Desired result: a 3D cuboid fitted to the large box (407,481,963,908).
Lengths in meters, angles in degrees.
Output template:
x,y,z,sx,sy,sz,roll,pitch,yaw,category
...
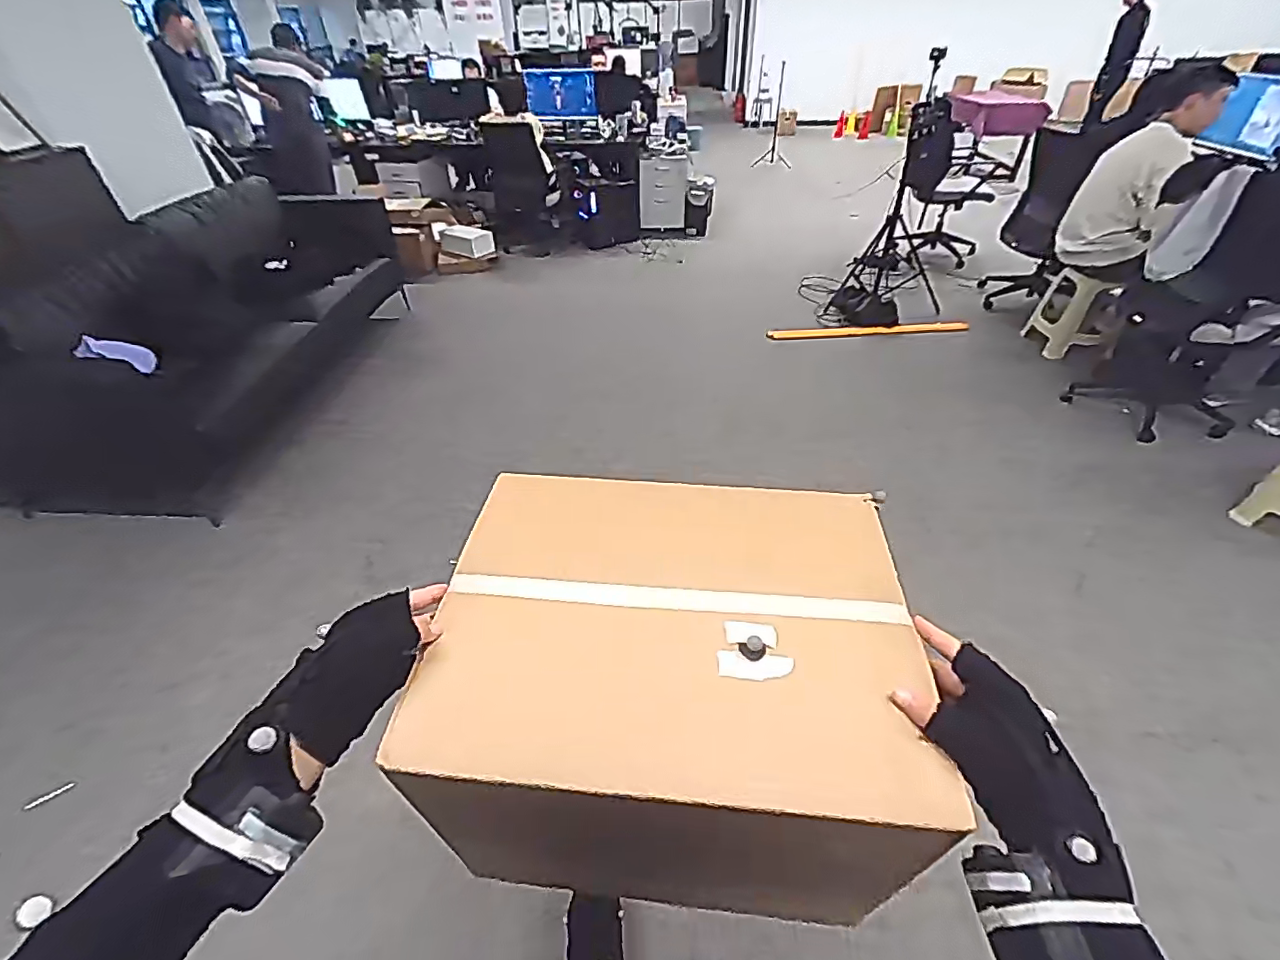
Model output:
x,y,z,sx,sy,sz,roll,pitch,yaw,category
0.036,0.224,0.588,0.408,0.320,0.320,4,42,4,large box
